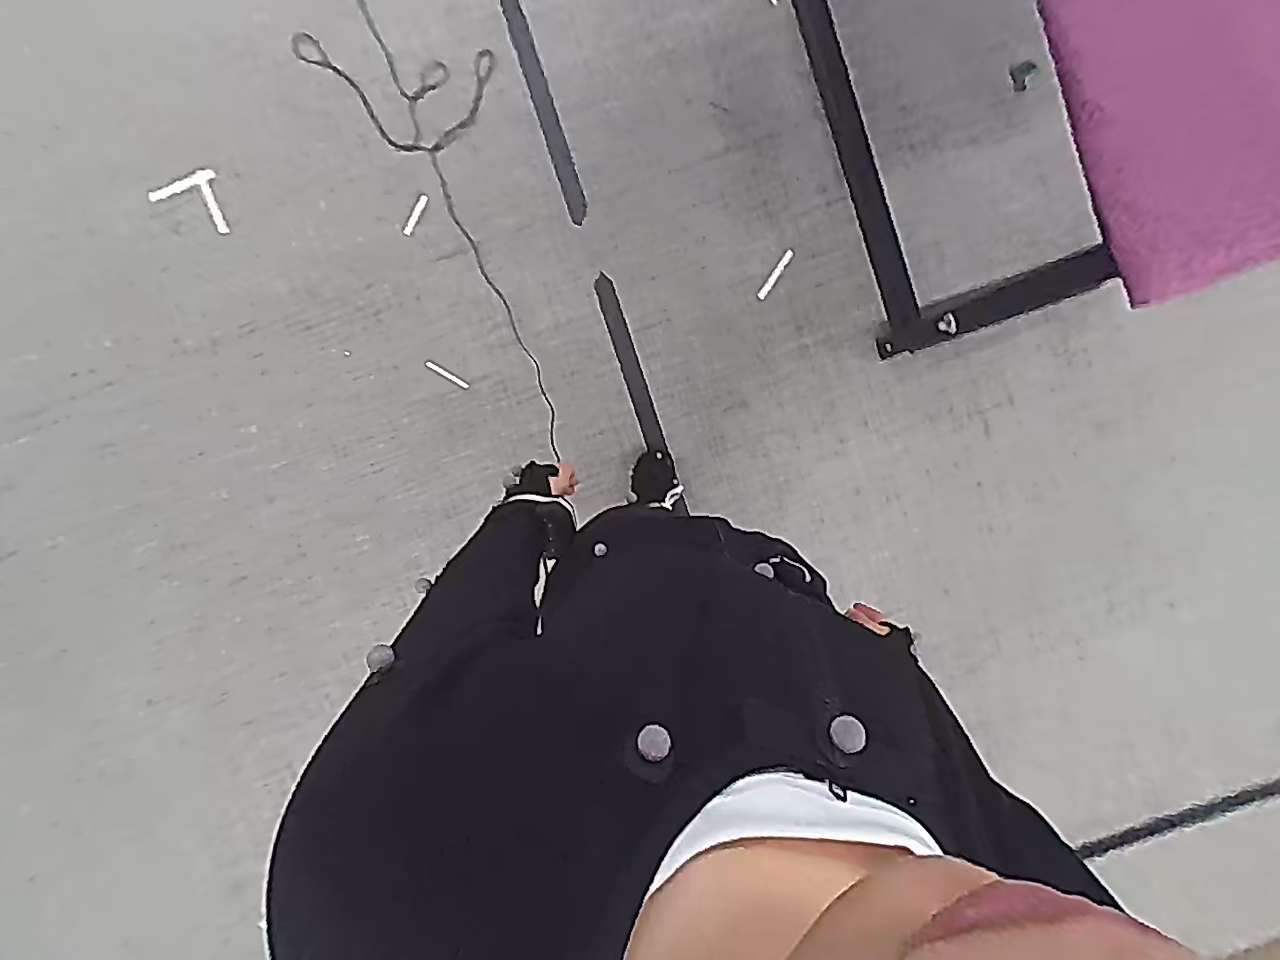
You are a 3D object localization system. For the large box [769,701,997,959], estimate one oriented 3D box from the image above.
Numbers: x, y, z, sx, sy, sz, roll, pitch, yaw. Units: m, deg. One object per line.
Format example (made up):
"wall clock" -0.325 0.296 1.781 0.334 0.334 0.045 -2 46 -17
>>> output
"large box" 0.542 0.817 1.277 0.320 0.320 0.408 -20 93 1
